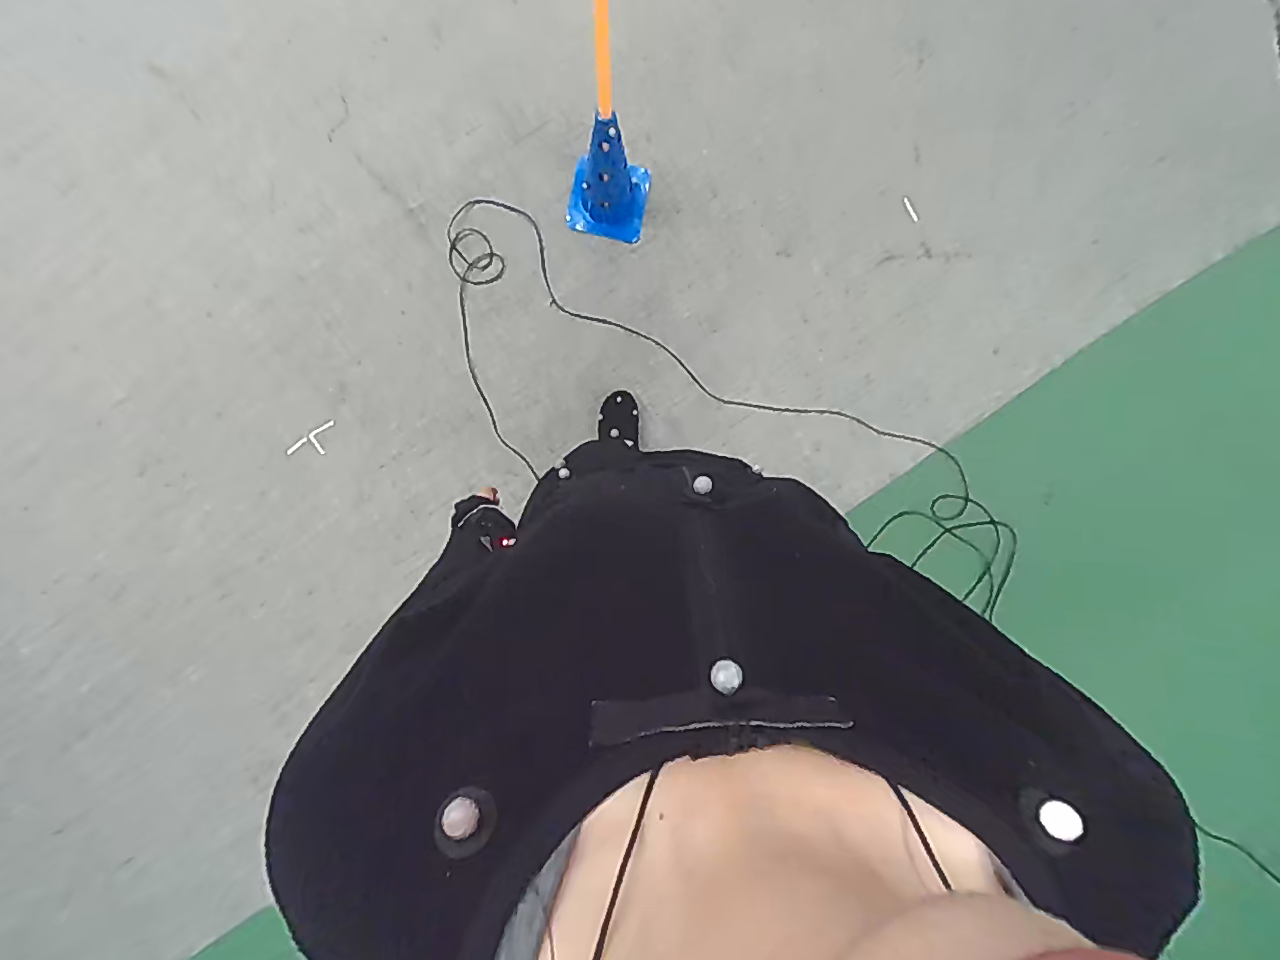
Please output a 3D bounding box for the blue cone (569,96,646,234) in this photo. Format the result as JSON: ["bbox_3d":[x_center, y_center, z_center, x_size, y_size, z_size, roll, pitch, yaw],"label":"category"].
[{"bbox_3d":[-0.077,-0.749,1.256,0.192,0.380,0.193,11,90,-3],"label":"blue cone"}]
